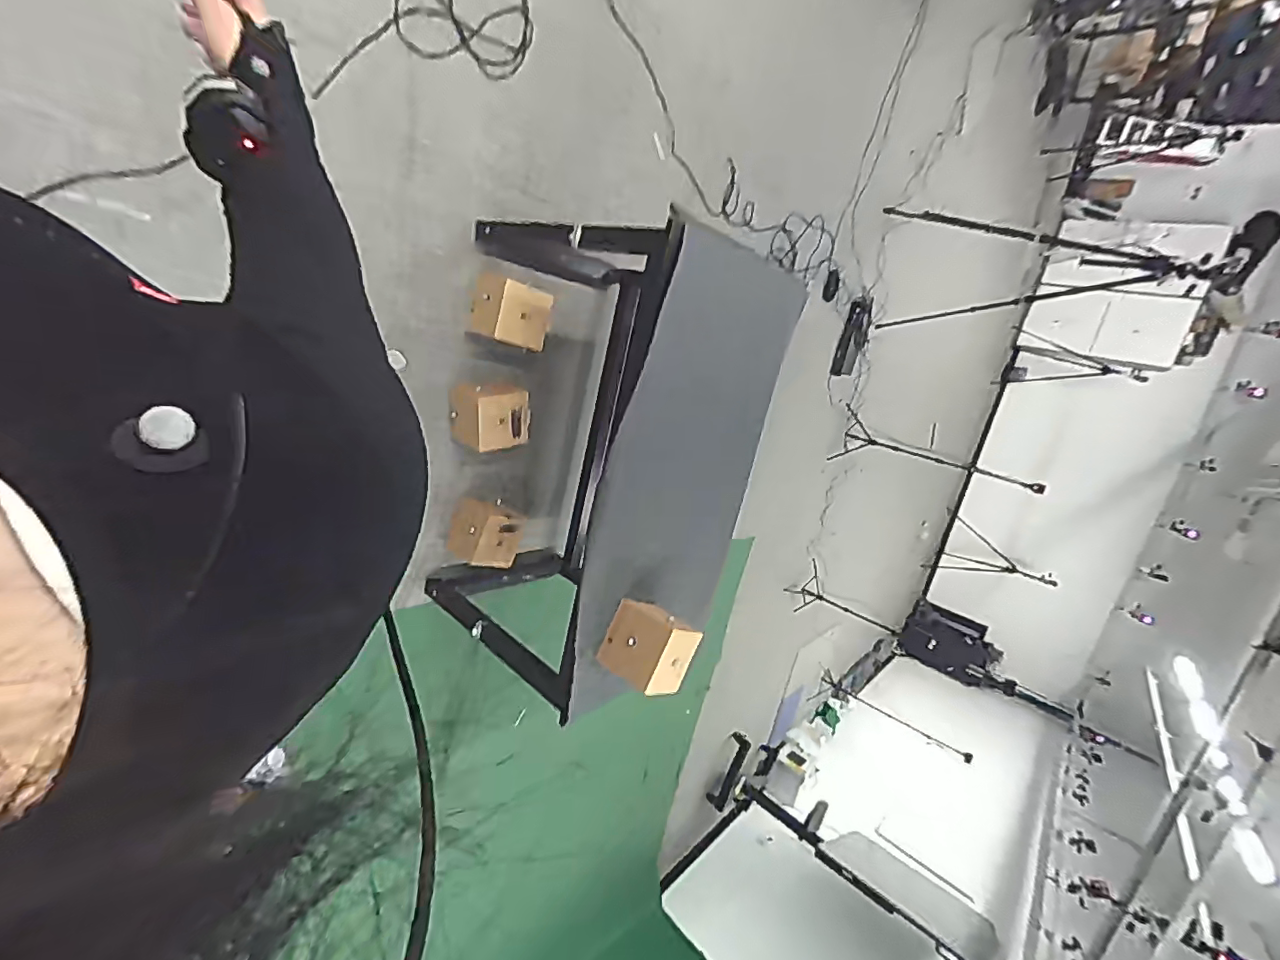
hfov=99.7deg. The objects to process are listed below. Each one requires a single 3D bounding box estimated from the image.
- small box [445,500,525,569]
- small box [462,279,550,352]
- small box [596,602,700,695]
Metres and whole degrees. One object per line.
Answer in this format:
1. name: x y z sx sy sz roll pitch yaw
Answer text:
1. small box: -0.520 0.180 1.798 0.168 0.176 0.179 17 96 -53
2. small box: -0.401 -0.488 1.603 0.179 0.176 0.168 2 106 -52
3. small box: 0.019 0.423 1.368 0.179 0.176 0.168 30 84 -55
